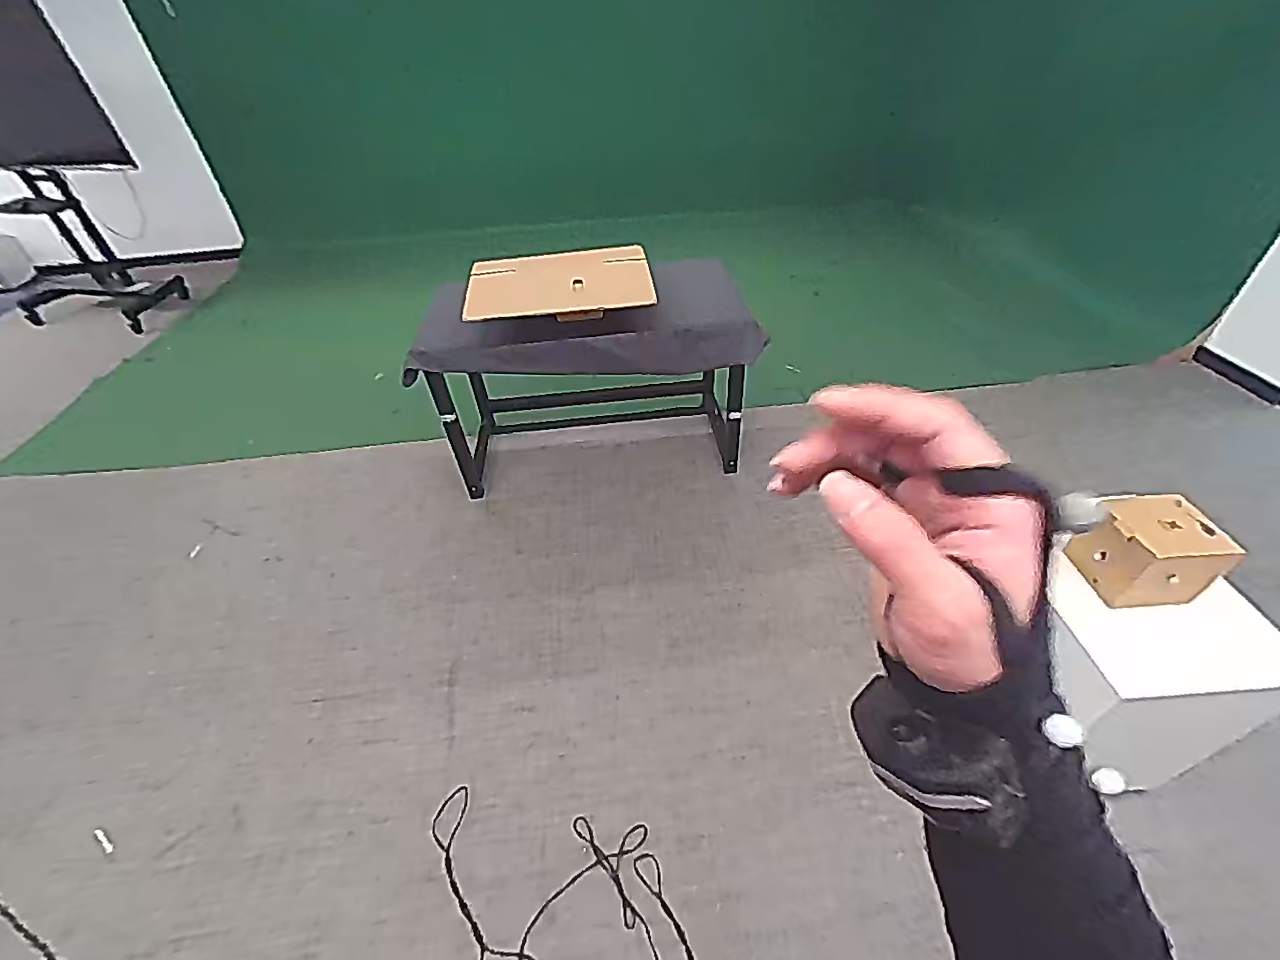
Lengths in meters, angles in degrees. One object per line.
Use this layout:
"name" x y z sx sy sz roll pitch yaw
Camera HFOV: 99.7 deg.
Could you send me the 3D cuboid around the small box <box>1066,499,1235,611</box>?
"small box" 1.058 0.161 1.147 0.179 0.176 0.168 -5 41 -3
